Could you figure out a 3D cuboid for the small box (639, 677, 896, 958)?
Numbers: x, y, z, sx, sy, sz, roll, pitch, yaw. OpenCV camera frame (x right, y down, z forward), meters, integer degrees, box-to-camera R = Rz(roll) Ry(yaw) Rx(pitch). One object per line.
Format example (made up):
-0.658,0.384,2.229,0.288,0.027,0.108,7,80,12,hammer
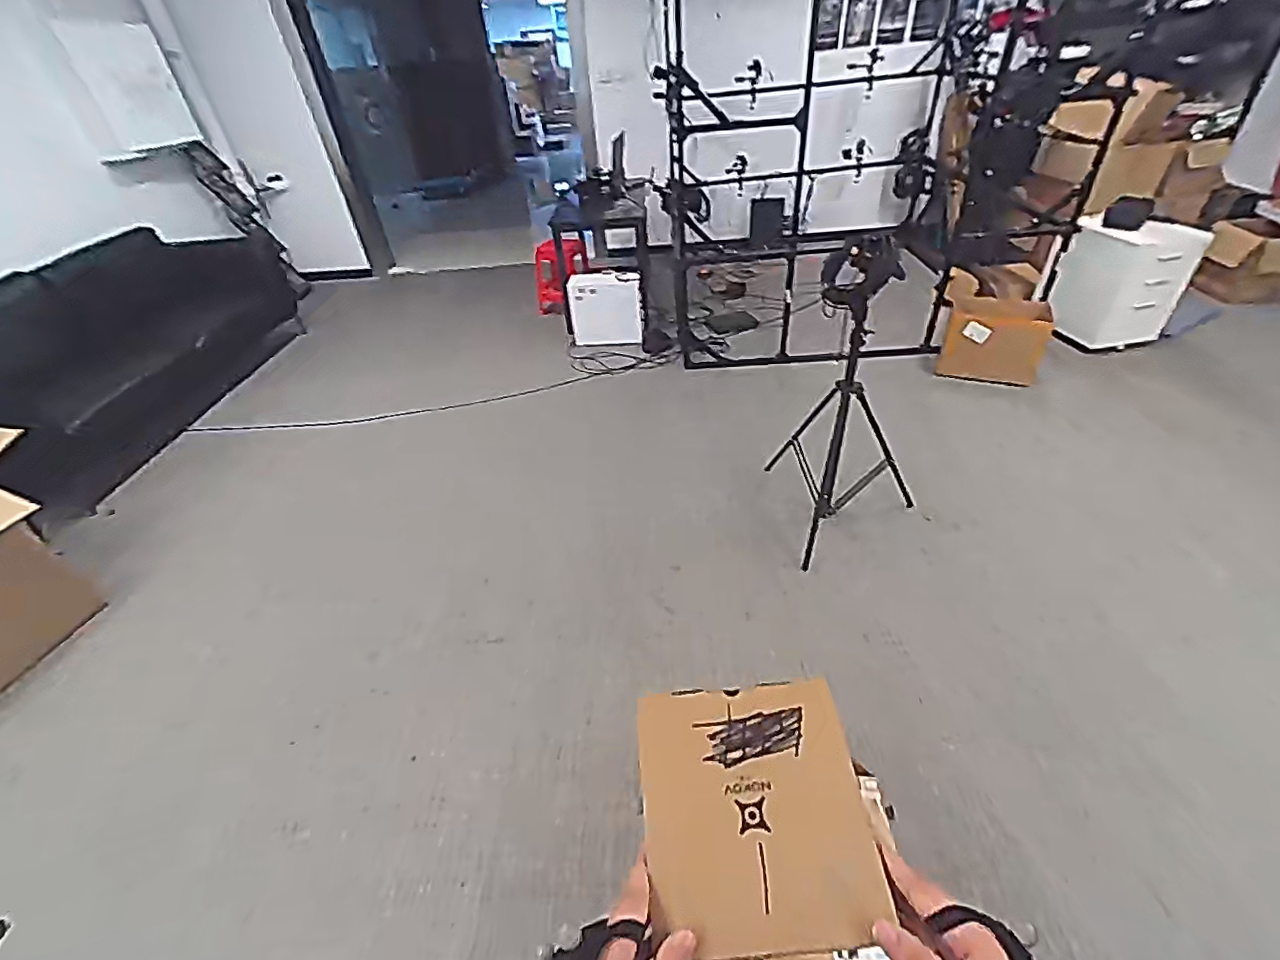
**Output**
0.089,0.294,0.471,0.168,0.176,0.179,-6,49,1,small box
